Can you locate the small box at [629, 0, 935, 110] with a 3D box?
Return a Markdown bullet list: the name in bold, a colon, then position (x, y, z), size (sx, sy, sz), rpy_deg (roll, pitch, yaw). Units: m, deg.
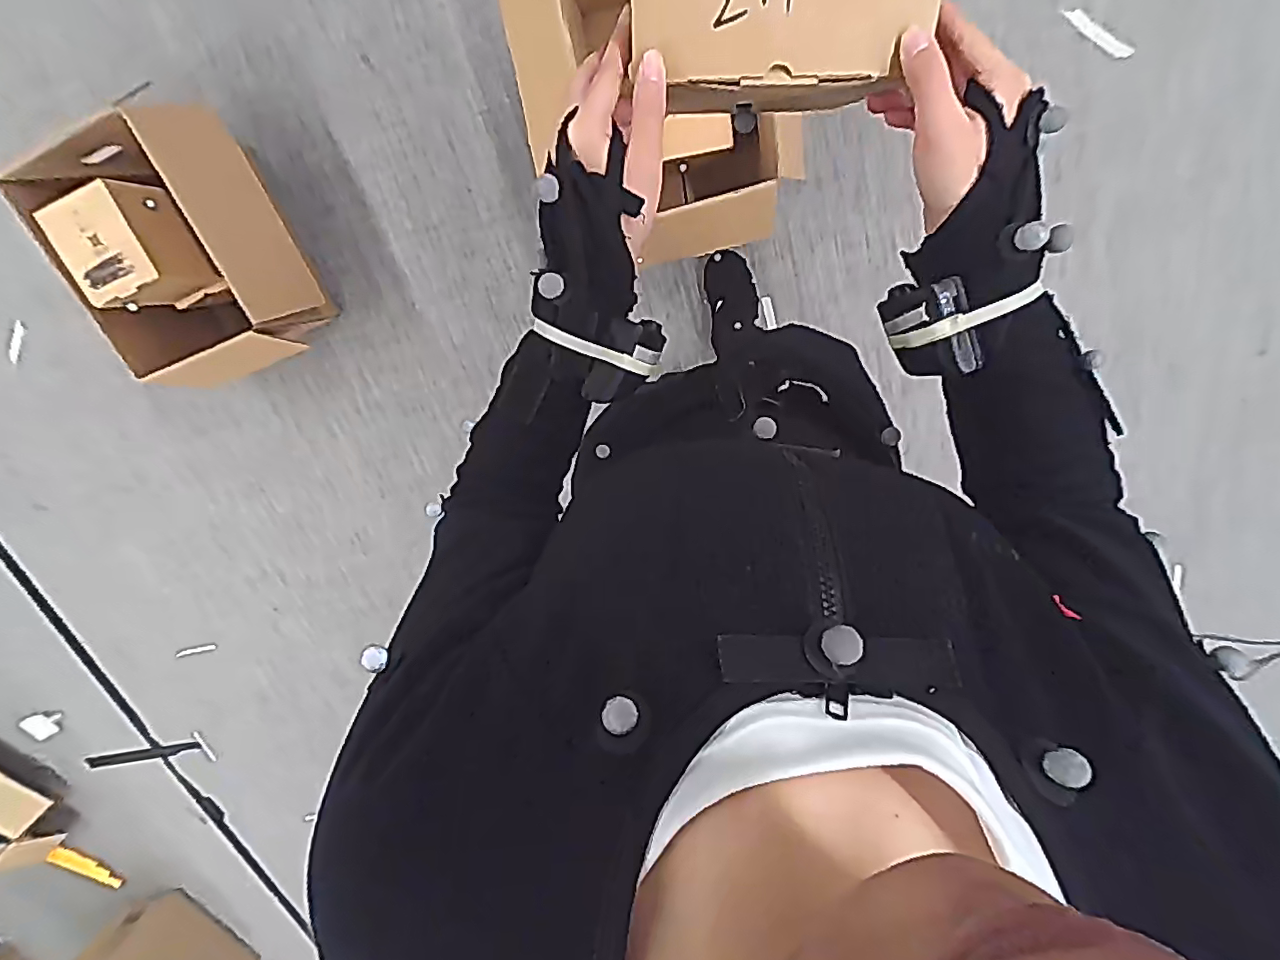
- **small box**: position (0.076, -0.345, 0.333), size (0.168, 0.176, 0.179), rpy_deg (-1, 119, 1)
